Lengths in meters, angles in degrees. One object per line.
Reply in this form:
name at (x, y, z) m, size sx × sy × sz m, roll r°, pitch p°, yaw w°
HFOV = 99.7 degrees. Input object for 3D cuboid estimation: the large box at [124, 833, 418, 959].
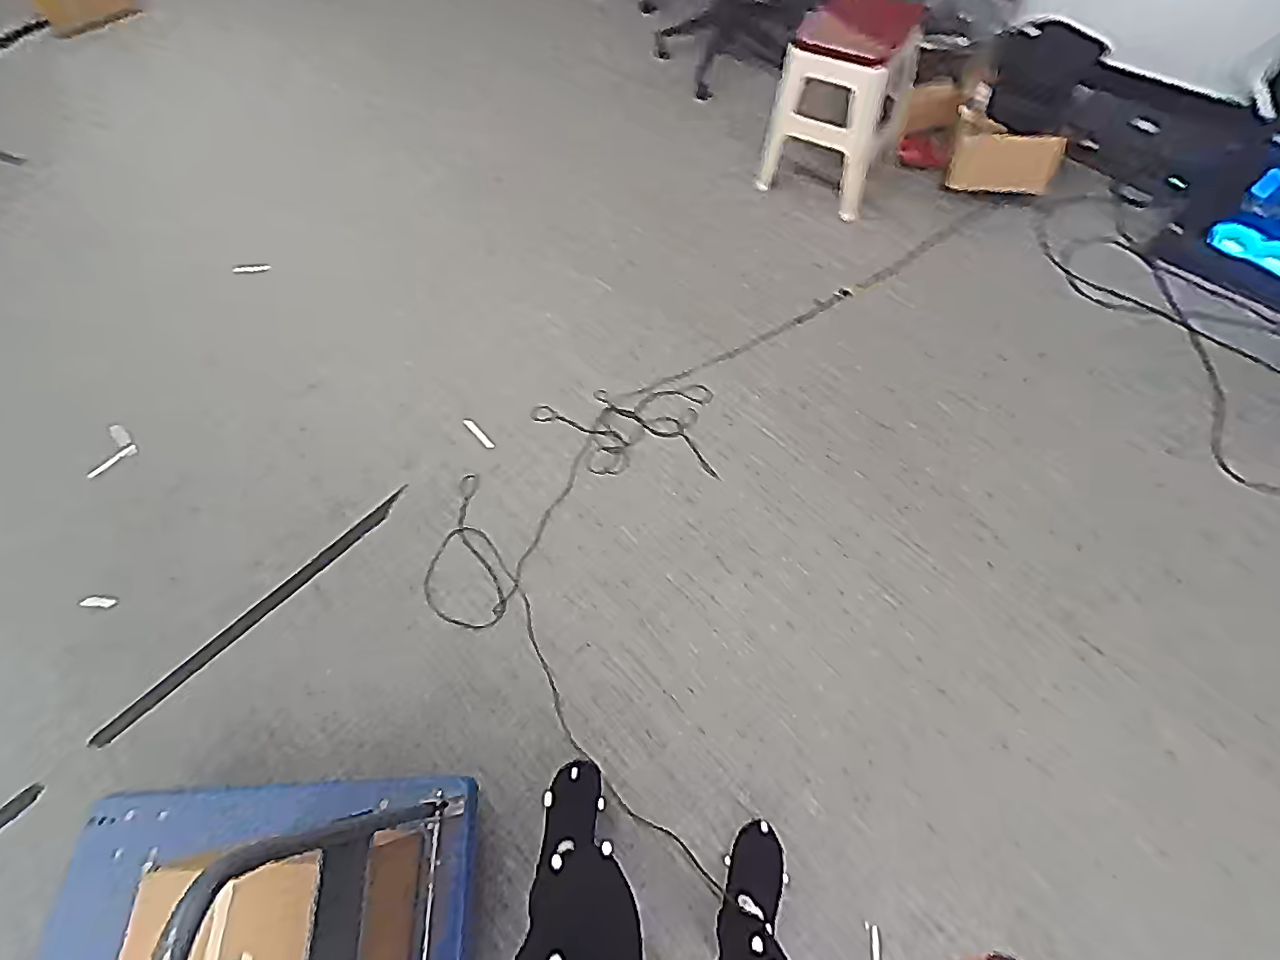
large box at (-0.605, 0.847, 0.897) m, size 0.320 × 0.320 × 0.408 m, roll -4°, pitch 64°, yaw 4°
